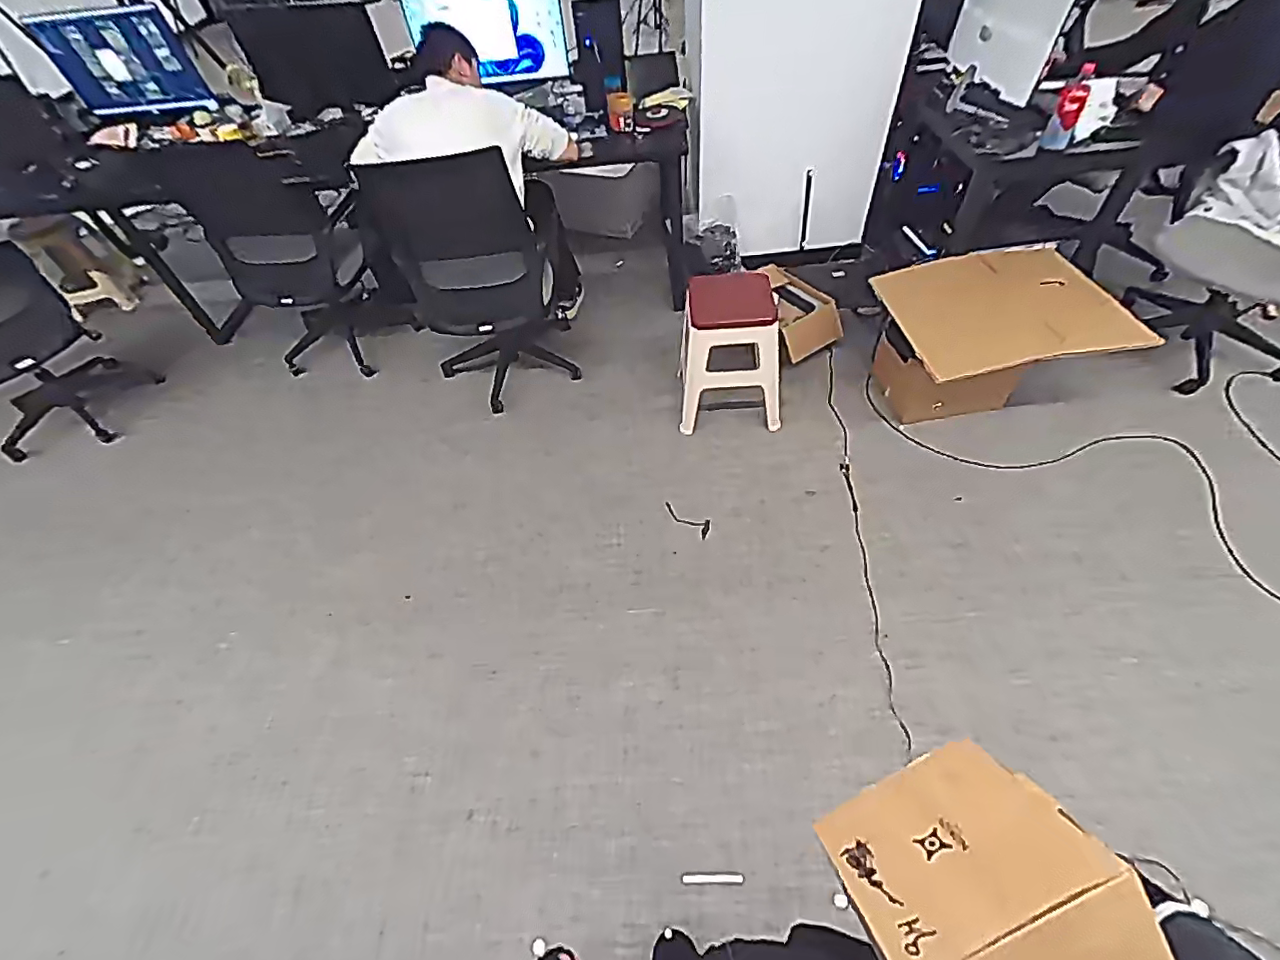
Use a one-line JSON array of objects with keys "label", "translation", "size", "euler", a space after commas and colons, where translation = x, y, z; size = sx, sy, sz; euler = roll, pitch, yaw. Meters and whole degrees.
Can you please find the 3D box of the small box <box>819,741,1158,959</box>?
[{"label": "small box", "translation": [0.291, 0.373, 0.460], "size": [0.179, 0.168, 0.176], "euler": [-27, 95, -2]}]
